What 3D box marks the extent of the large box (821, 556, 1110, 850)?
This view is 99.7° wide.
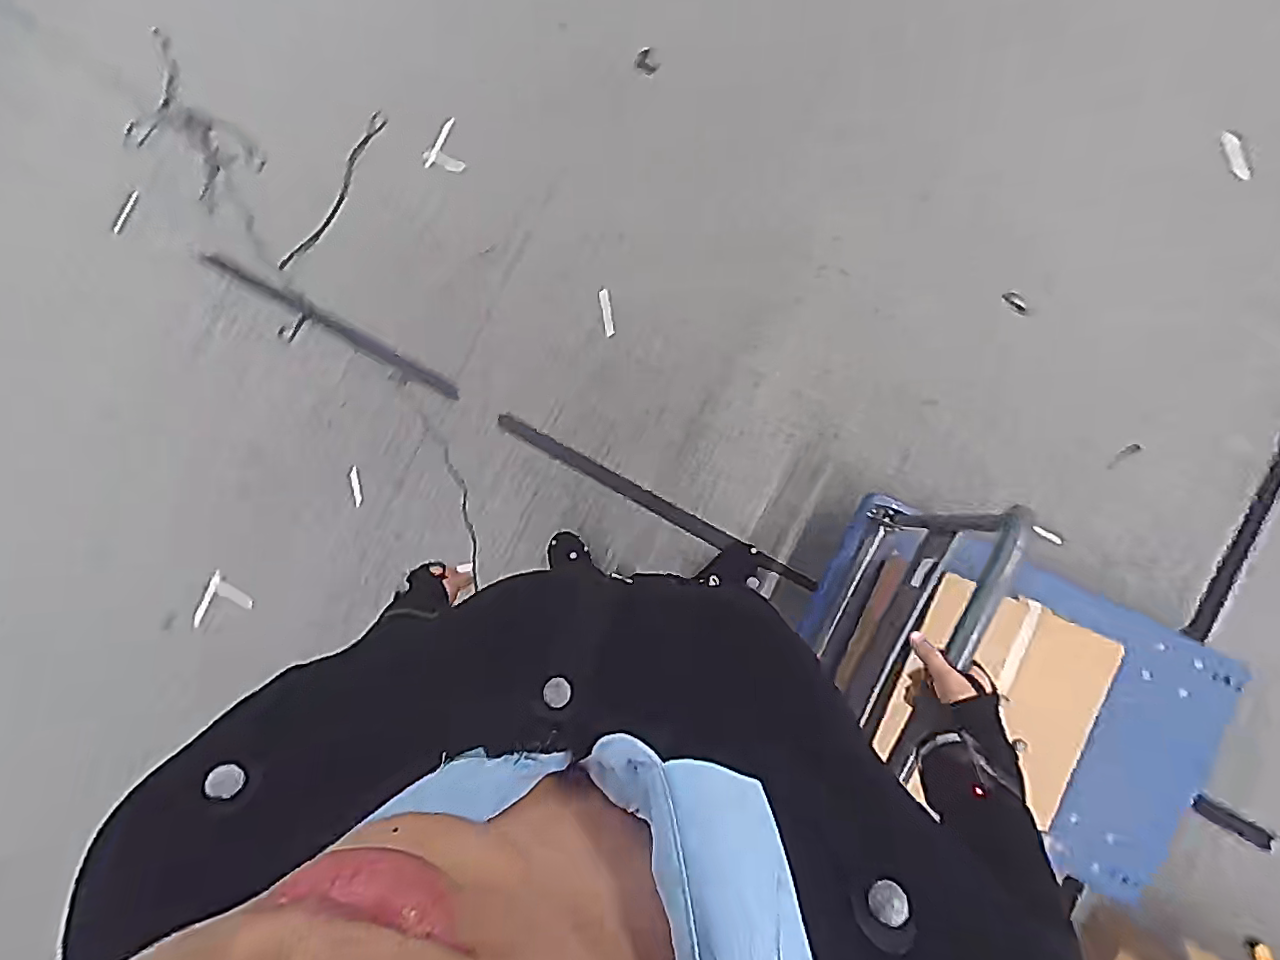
[{"bbox_3d":[0.616,0.407,1.097,0.320,0.320,0.408,23,91,8],"label":"large box"}]
